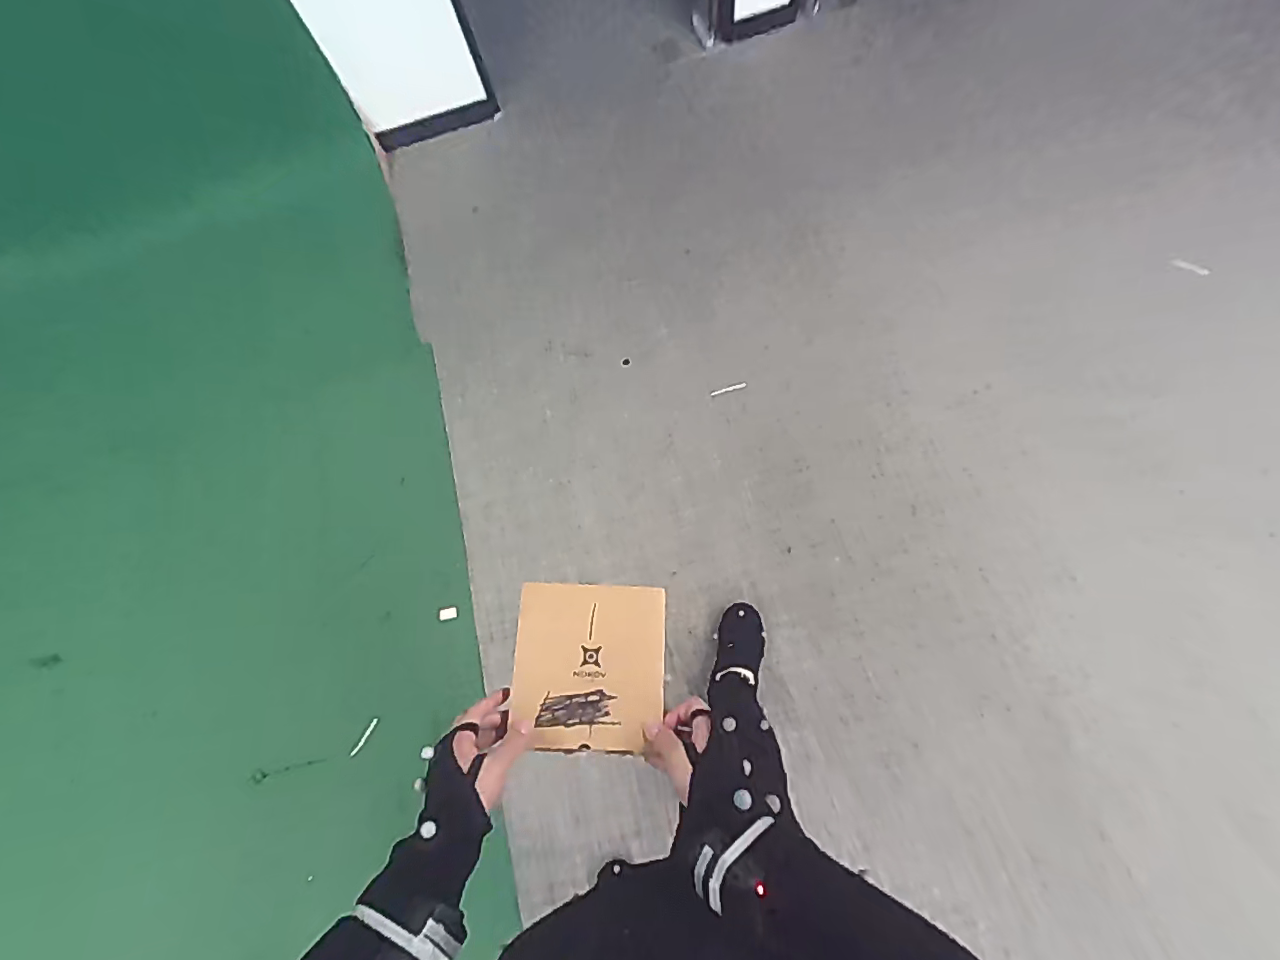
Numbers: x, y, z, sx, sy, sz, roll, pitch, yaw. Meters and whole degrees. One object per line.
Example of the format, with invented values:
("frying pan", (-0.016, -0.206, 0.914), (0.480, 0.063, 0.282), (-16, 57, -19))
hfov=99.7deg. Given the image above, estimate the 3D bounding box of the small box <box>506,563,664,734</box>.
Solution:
("small box", (-0.060, 0.207, 0.672), (0.168, 0.176, 0.179), (3, 71, -2))
